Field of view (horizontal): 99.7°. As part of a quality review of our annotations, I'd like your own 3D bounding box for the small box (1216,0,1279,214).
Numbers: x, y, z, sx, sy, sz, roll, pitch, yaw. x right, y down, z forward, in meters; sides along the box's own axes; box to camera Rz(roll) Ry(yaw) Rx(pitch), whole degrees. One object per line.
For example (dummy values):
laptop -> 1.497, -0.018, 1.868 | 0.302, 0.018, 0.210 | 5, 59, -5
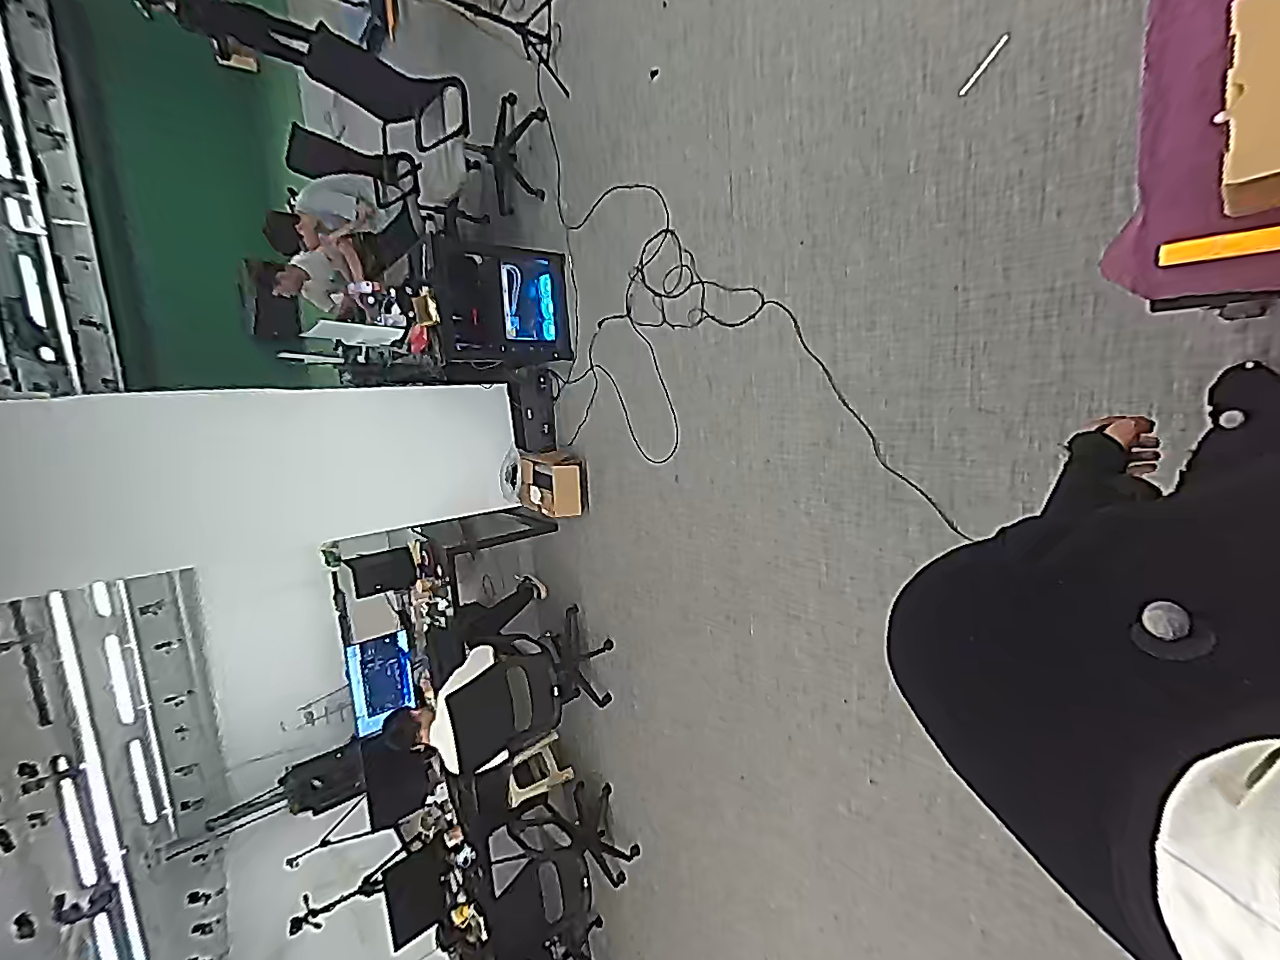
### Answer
small box -> 0.655, -0.360, 0.485 | 0.179, 0.176, 0.168 | 4, 101, 50
